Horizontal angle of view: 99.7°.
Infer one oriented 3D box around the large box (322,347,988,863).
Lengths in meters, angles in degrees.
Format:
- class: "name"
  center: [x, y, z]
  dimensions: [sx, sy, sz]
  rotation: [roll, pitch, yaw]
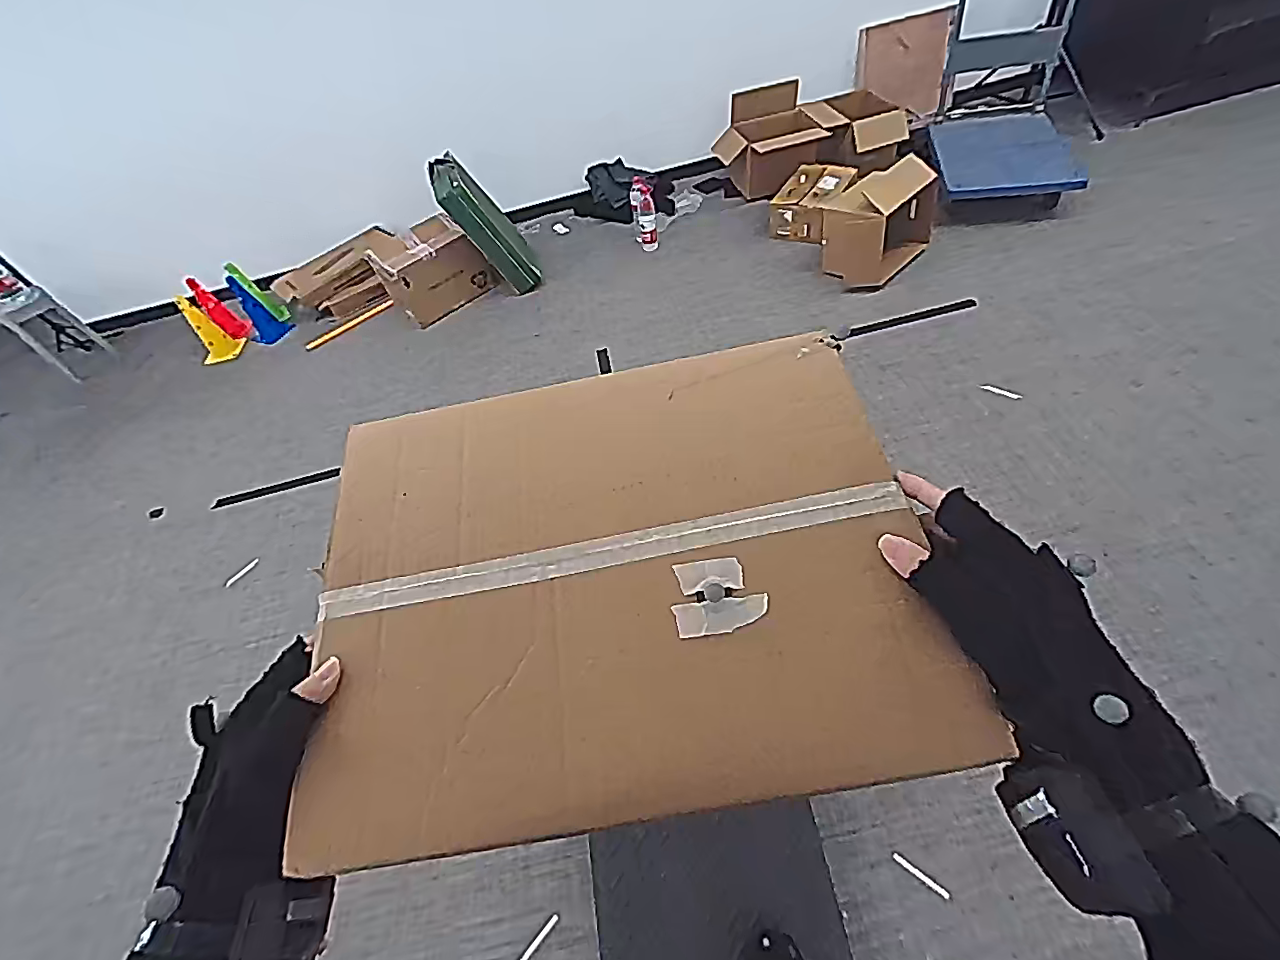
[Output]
- class: "large box"
  center: [0.000, 0.129, 0.513]
  dimensions: [0.408, 0.320, 0.320]
  rotation: [-11, 60, 2]
